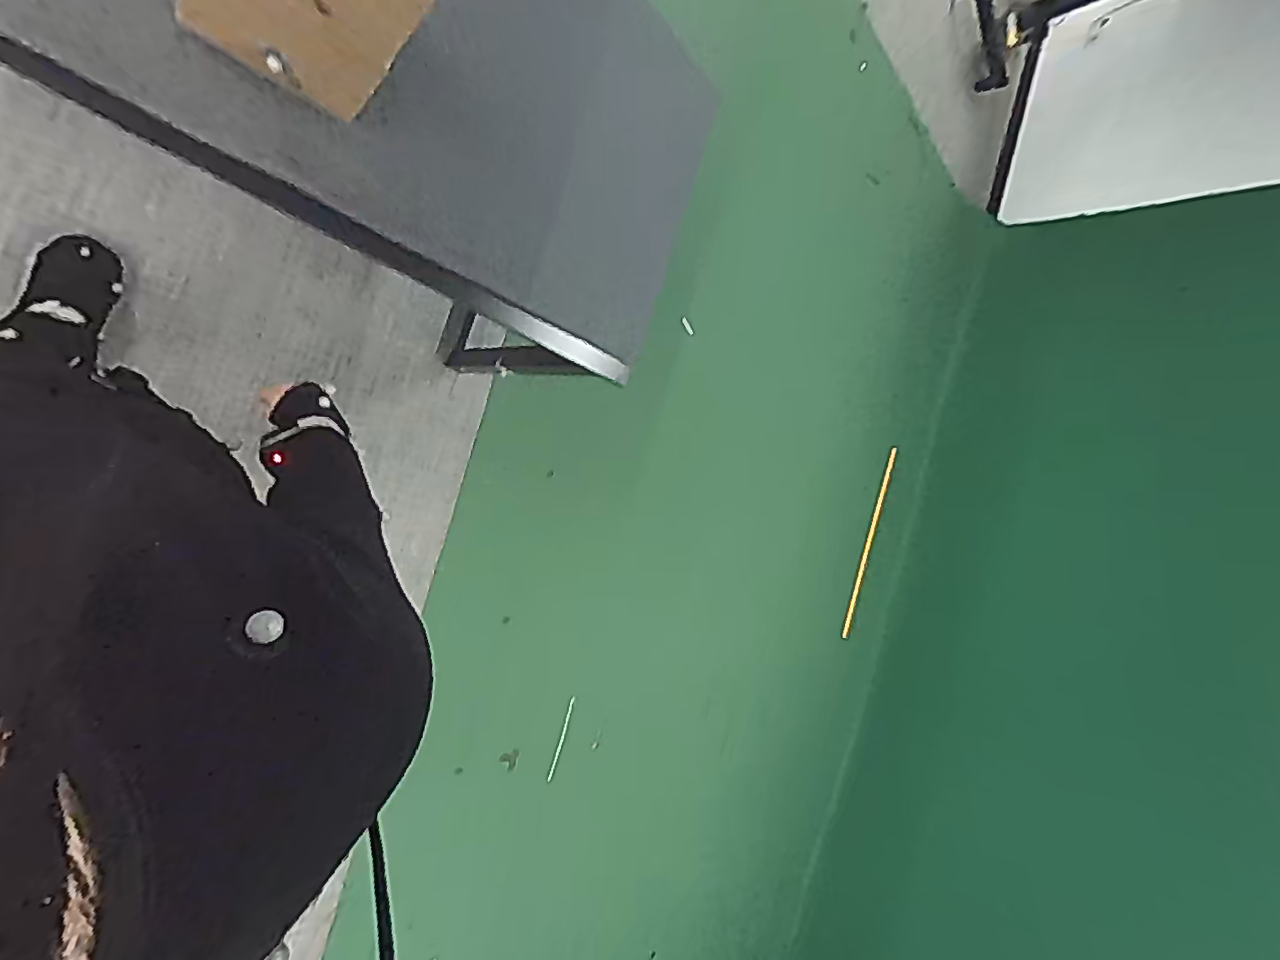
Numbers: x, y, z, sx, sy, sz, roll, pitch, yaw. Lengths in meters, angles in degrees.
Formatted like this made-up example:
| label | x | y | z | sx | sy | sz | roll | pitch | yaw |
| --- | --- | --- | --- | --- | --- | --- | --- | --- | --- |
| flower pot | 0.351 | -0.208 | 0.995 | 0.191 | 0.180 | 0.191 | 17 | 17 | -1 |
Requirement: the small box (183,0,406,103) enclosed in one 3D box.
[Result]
| label | x | y | z | sx | sy | sz | roll | pitch | yaw |
| --- | --- | --- | --- | --- | --- | --- | --- | --- | --- |
| small box | -0.329 | -0.525 | 0.526 | 0.168 | 0.176 | 0.179 | 17 | 88 | -43 |
